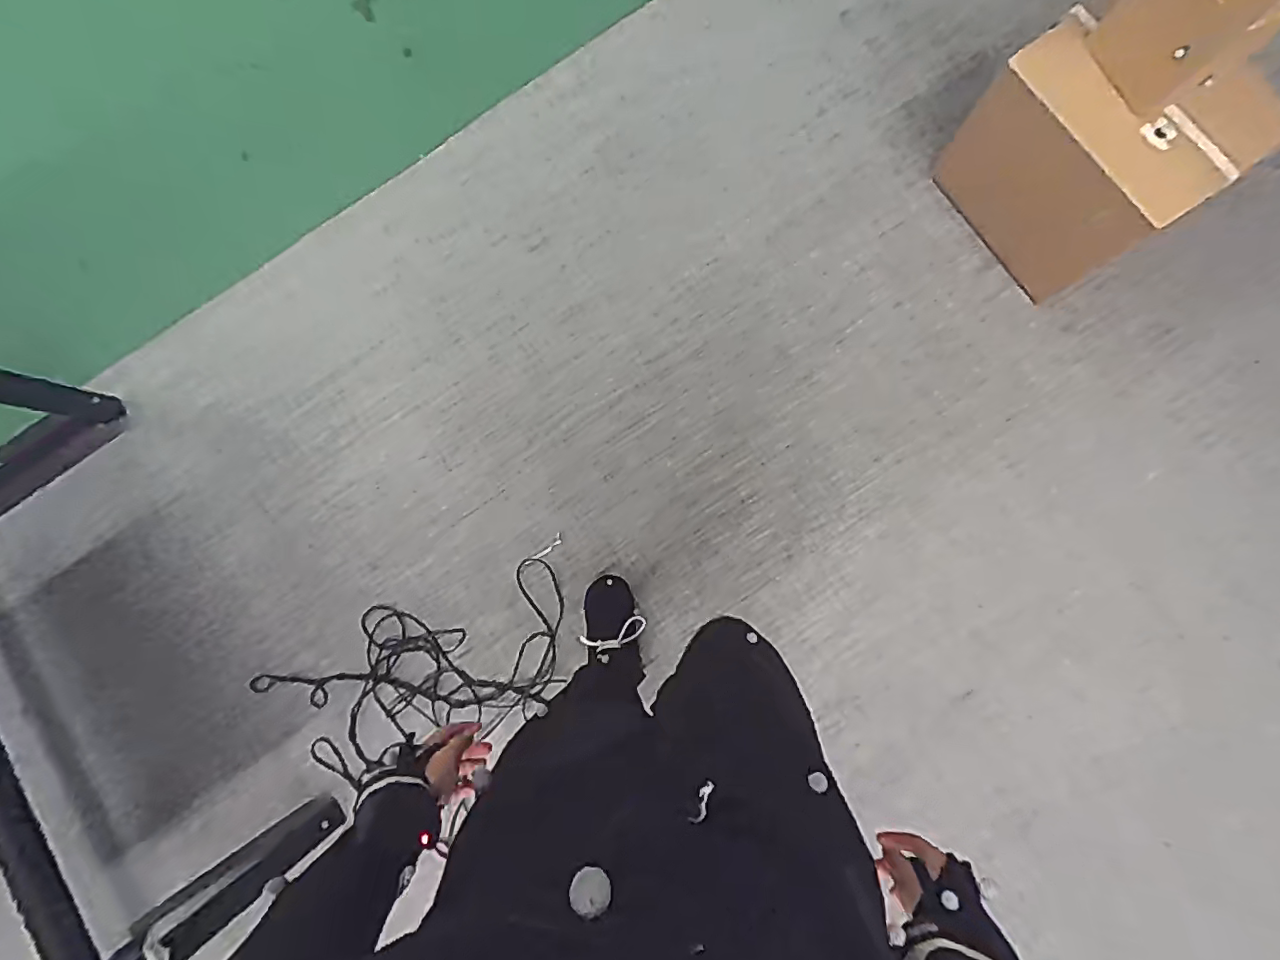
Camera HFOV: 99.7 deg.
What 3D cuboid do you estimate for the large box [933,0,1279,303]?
[{"bbox_3d":[0.900,-0.652,1.089,0.320,0.320,0.408,-35,84,1],"label":"large box"}]

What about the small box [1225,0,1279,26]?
[{"bbox_3d":[0.886,-0.750,0.691,0.168,0.176,0.179,-25,84,1],"label":"small box"}]
